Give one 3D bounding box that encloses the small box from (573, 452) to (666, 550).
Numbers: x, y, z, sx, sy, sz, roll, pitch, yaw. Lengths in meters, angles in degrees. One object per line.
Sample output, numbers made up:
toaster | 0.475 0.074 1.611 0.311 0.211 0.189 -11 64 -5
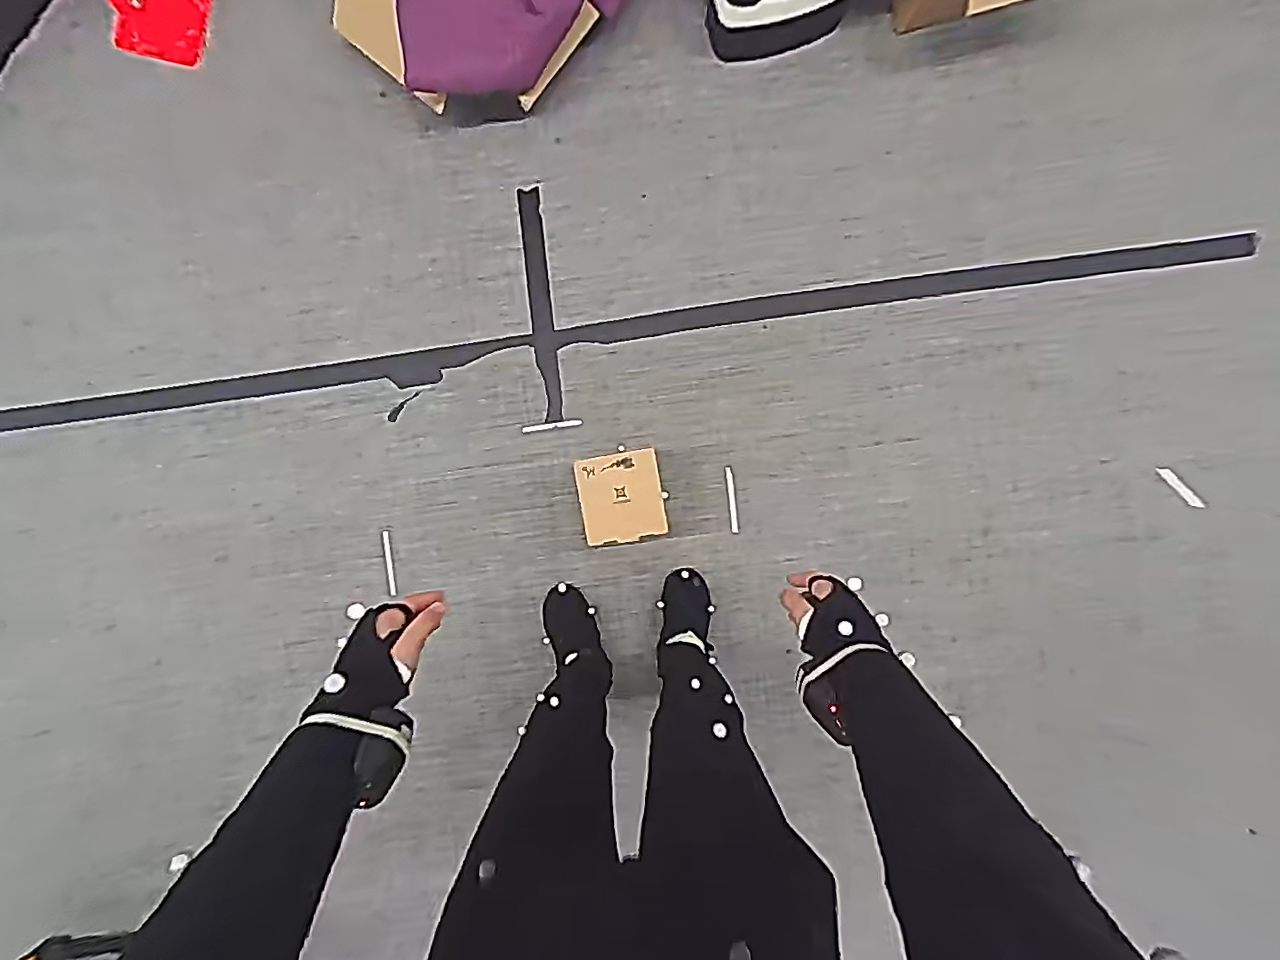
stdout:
small box | -0.039 0.038 1.147 0.168 0.176 0.179 -10 93 1
